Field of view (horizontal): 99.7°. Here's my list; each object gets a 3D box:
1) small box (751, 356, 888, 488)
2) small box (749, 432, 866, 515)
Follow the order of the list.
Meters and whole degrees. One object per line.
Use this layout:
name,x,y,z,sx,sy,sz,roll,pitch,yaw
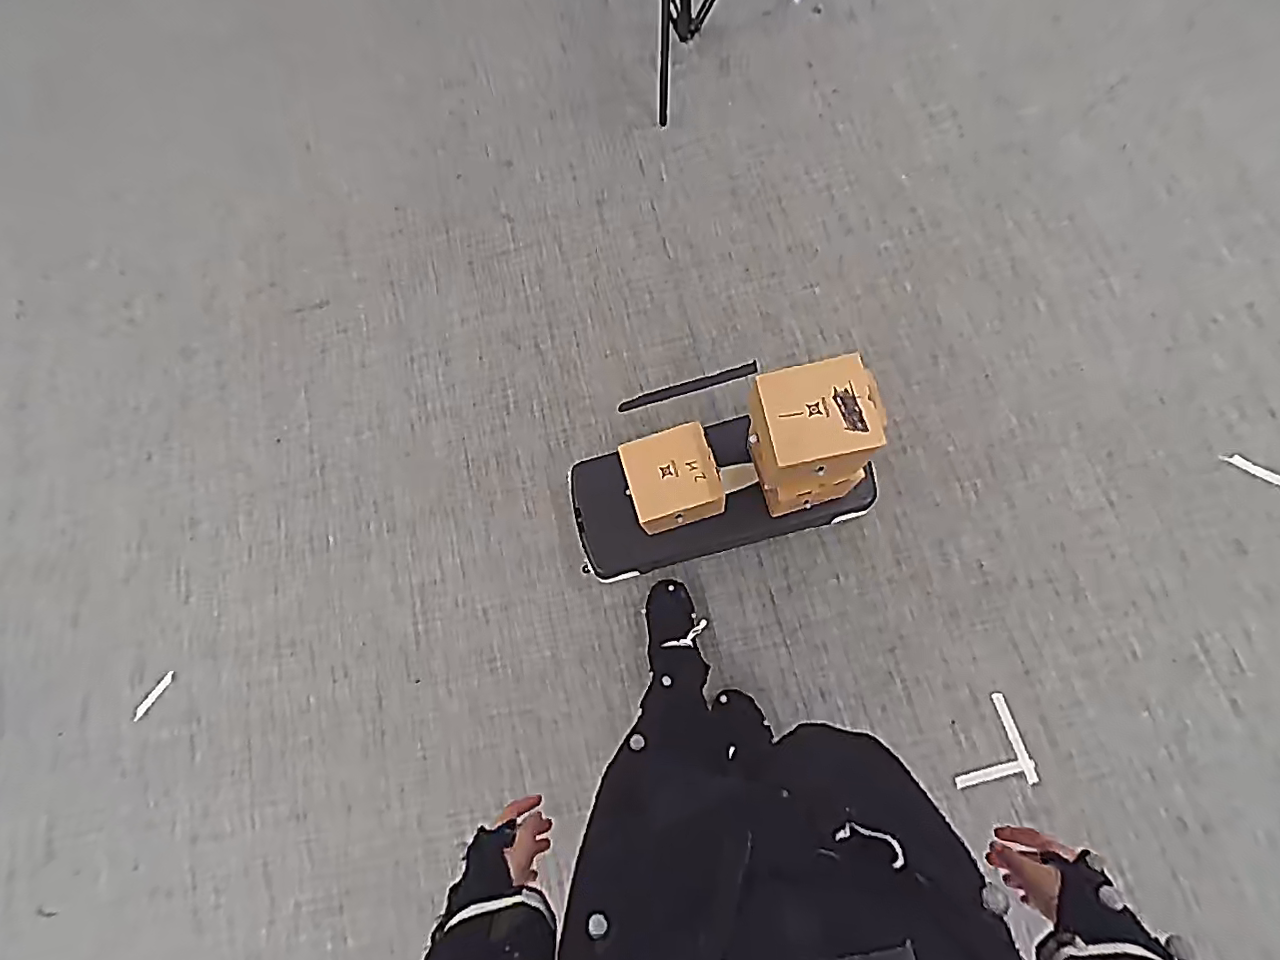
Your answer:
small box,0.303,-0.094,0.953,0.179,0.176,0.168,-12,75,5
small box,0.330,-0.043,1.108,0.168,0.176,0.179,-17,76,3
